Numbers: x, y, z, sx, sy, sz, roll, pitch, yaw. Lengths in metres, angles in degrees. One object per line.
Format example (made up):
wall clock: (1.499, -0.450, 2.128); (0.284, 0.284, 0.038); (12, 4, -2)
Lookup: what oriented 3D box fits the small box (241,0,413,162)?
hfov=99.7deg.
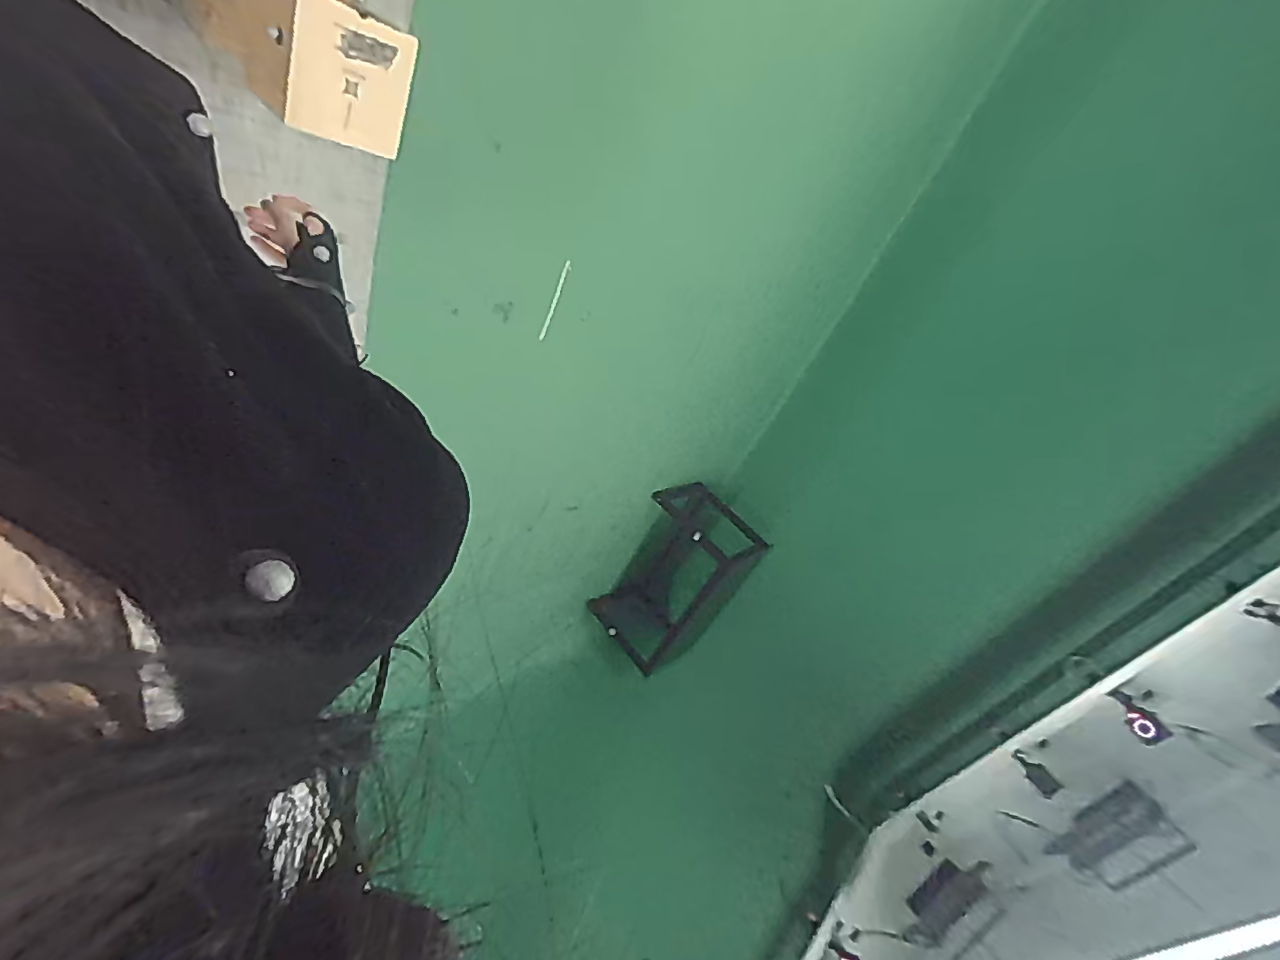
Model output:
small box: (-0.478, -0.629, 0.820); (0.168, 0.176, 0.179); (-12, 140, -50)
